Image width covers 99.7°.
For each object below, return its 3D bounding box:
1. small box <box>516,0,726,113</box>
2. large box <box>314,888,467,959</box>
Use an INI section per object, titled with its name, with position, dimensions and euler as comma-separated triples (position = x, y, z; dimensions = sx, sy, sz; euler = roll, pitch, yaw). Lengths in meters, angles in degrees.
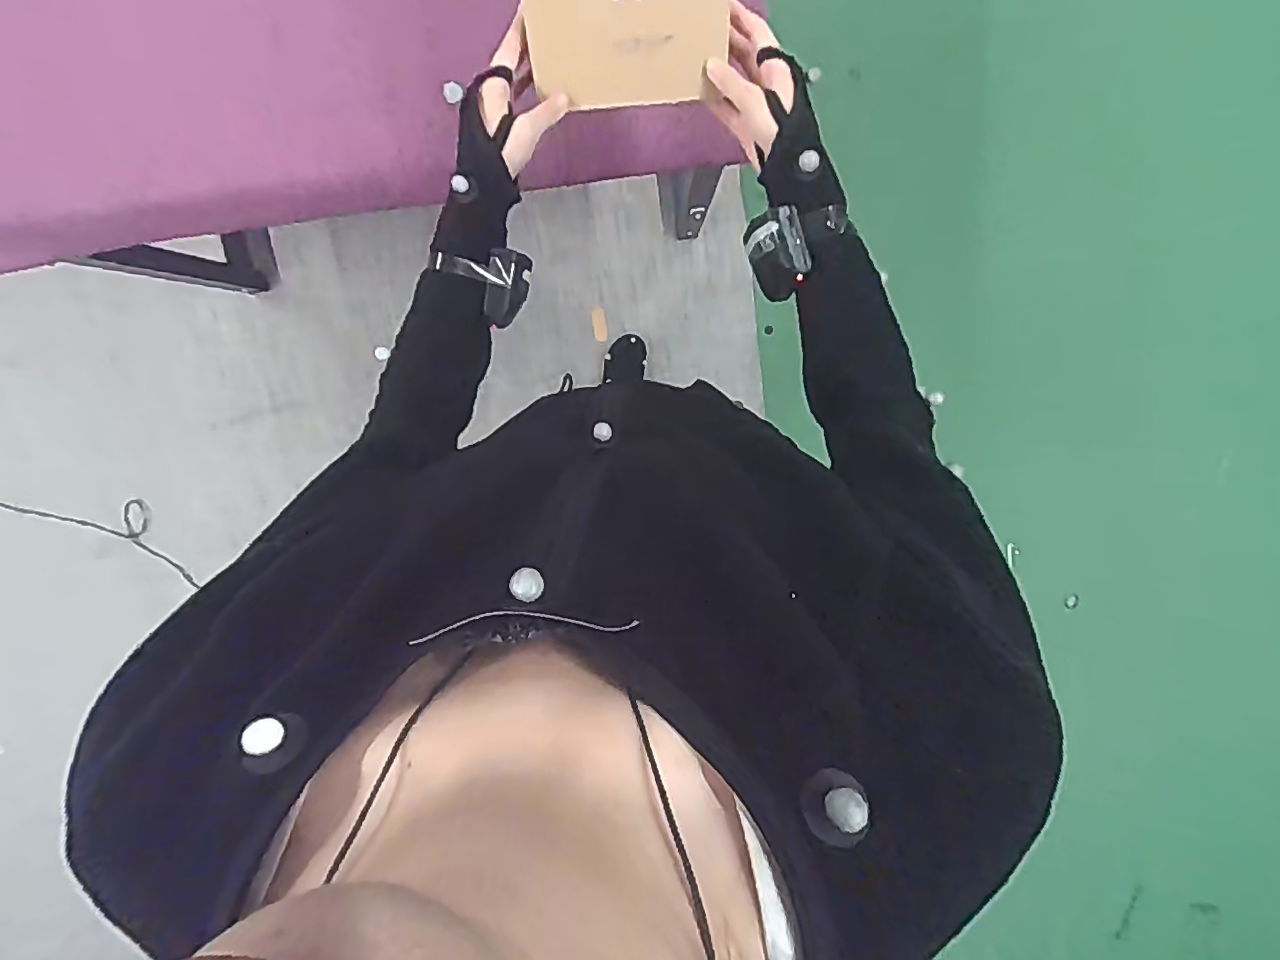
[small box]
position = -0.021, -0.439, 0.457
dimensions = 0.168, 0.176, 0.179
euler = -5, 138, 0
[large box]
position = -0.817, 1.590, 1.693
dimensions = 0.408, 0.320, 0.320
euler = 22, 101, -2
